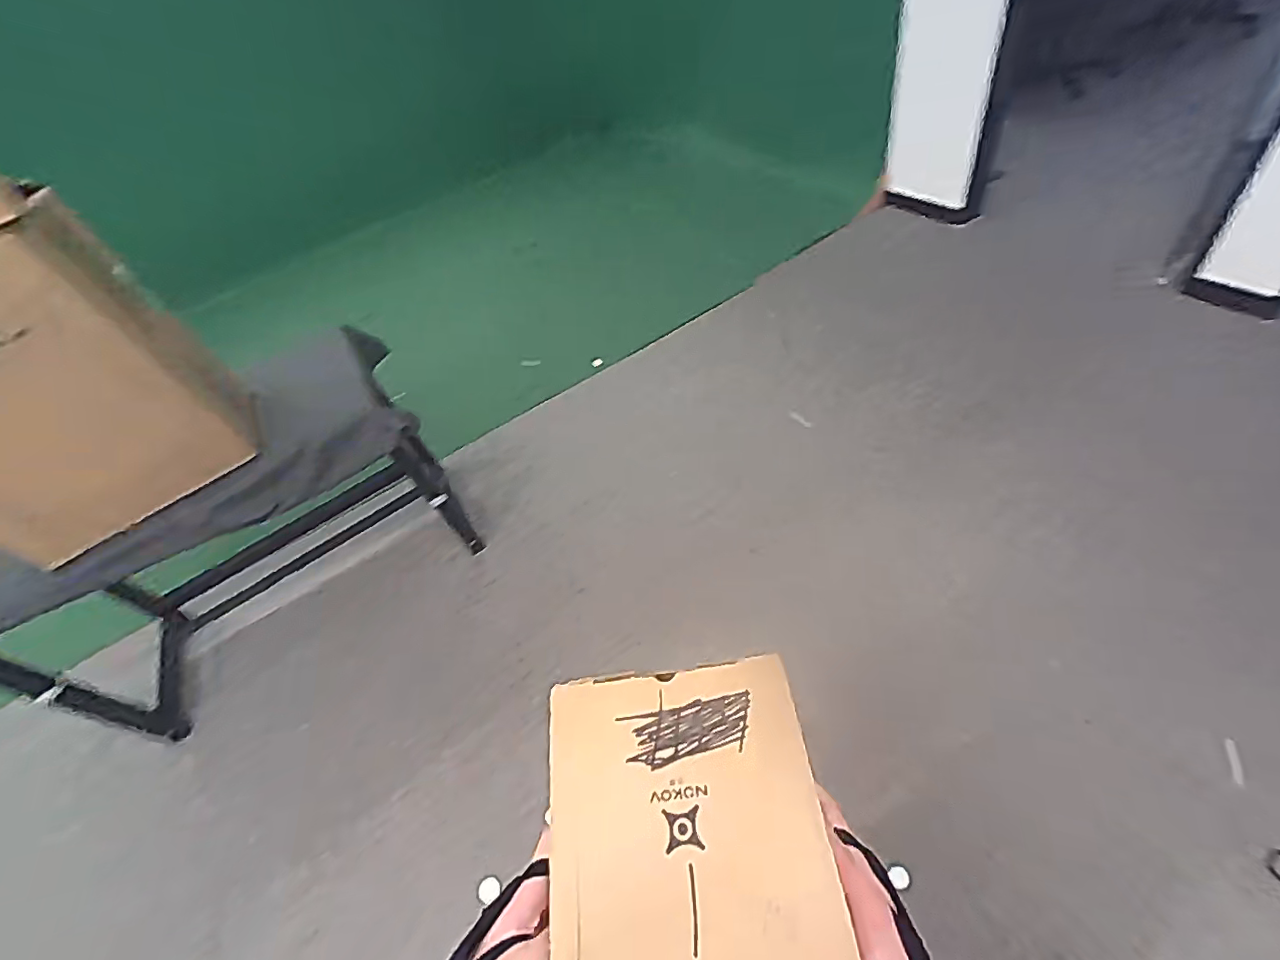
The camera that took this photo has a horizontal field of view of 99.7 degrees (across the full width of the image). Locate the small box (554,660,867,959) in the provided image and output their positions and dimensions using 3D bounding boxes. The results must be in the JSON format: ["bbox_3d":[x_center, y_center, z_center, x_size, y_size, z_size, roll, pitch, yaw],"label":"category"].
[{"bbox_3d":[0.039,0.254,0.386,0.168,0.176,0.179,-10,51,2],"label":"small box"}]

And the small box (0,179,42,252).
[{"bbox_3d":[-1.264,-0.505,0.988,0.168,0.176,0.179,-38,48,-18],"label":"small box"}]
